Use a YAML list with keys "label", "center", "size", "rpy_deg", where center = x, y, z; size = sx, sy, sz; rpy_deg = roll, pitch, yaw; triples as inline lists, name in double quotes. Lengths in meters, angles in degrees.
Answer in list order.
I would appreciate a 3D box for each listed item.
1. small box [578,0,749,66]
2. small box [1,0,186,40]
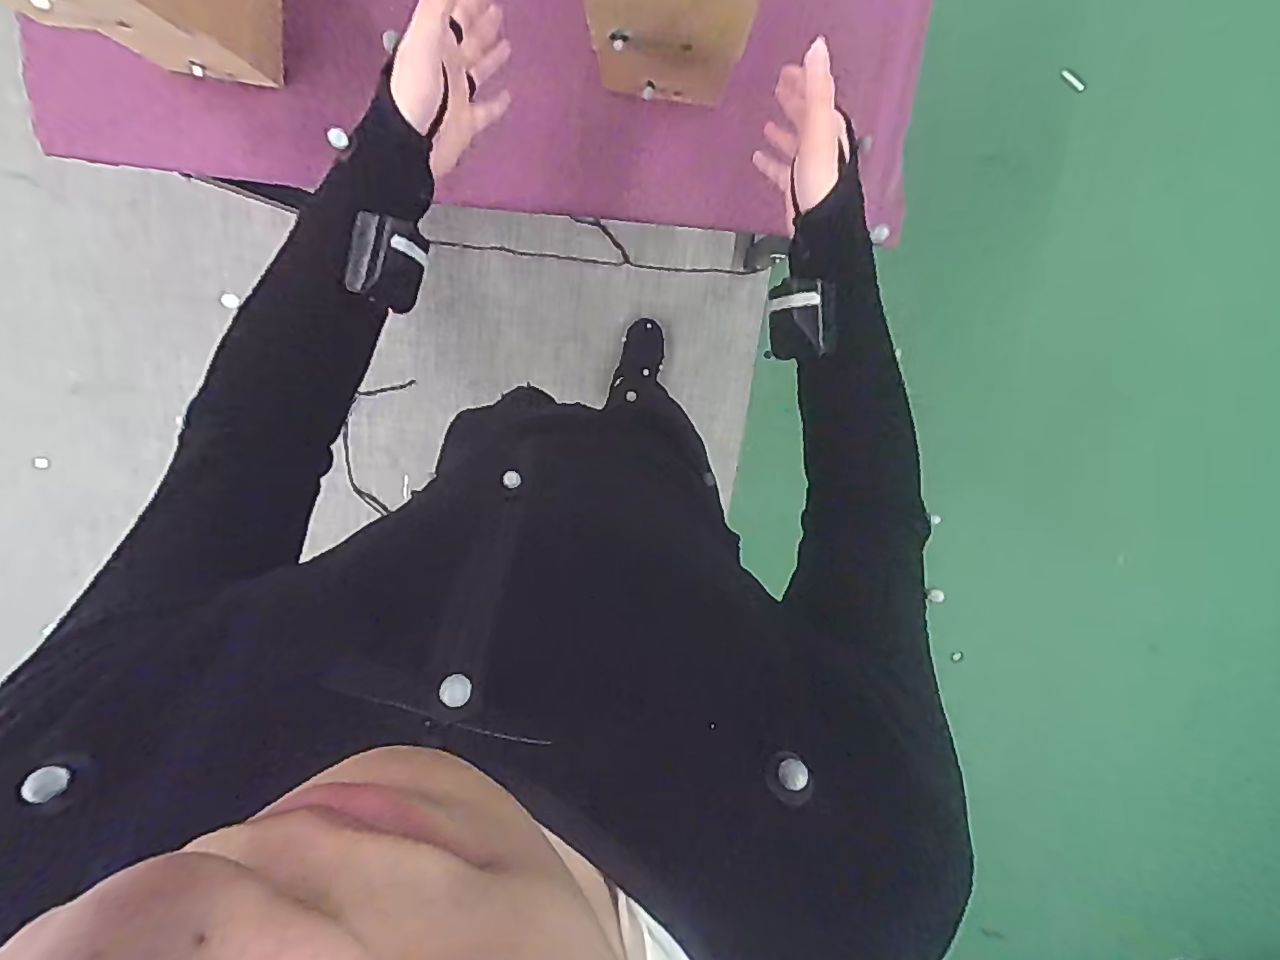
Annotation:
- label: "small box"
  center: [0.029, -0.528, 0.502]
  size: [0.168, 0.176, 0.179]
  rpy_deg: [6, 102, 0]
- label: "small box"
  center: [-0.565, -0.548, 0.494]
  size: [0.168, 0.176, 0.179]
  rpy_deg: [5, 105, -2]
